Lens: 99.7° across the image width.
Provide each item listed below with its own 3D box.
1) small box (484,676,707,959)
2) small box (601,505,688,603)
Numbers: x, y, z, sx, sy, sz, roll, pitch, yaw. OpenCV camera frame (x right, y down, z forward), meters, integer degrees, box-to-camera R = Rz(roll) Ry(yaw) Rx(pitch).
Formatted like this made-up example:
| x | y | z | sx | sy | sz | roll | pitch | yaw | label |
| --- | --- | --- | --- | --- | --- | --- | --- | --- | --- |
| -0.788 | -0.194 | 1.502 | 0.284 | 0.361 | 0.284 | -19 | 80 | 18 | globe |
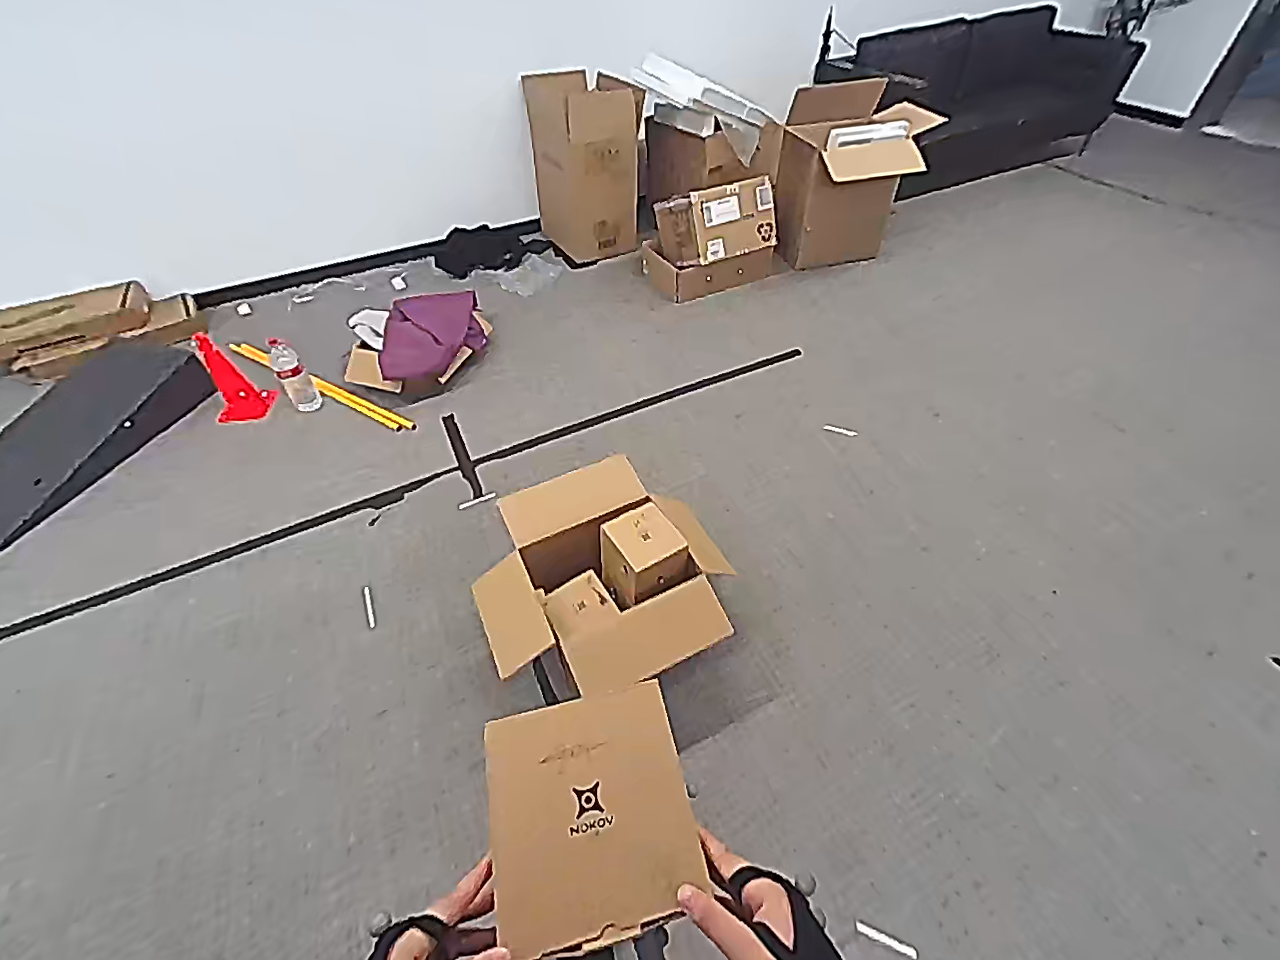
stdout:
| x | y | z | sx | sy | sz | roll | pitch | yaw | label |
| --- | --- | --- | --- | --- | --- | --- | --- | --- | --- |
| -0.042 | 0.317 | 0.515 | 0.168 | 0.176 | 0.179 | -12 | 50 | -8 | small box |
| 0.008 | 0.206 | 1.453 | 0.168 | 0.176 | 0.179 | -24 | 51 | -24 | small box |
